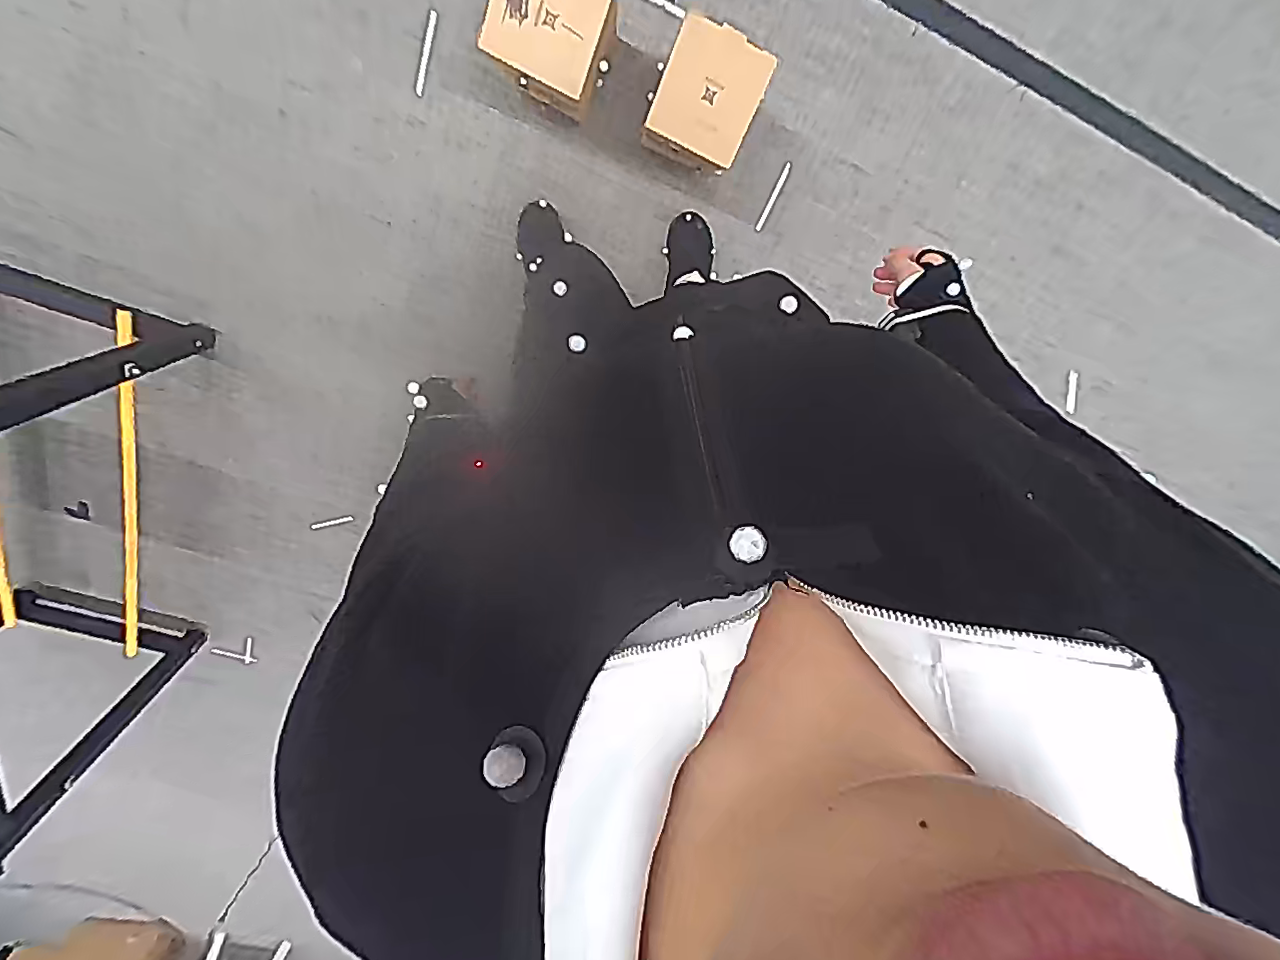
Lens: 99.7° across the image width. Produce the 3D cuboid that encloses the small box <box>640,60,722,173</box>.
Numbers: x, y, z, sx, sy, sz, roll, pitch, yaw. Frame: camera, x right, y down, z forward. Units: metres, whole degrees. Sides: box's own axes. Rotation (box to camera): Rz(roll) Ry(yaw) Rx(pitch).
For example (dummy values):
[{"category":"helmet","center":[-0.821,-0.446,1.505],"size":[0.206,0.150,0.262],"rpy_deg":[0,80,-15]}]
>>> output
[{"category":"small box","center":[0.108,-0.753,1.104],"size":[0.179,0.176,0.168],"rpy_deg":[19,117,-11]}]

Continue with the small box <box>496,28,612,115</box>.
[{"category":"small box","center":[-0.158,-0.840,1.048],"size":[0.168,0.176,0.179],"rpy_deg":[22,117,-12]}]

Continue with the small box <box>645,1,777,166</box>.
[{"category":"small box","center":[0.112,-0.684,0.956],"size":[0.168,0.176,0.179],"rpy_deg":[21,118,-12]}]

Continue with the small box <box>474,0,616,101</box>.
[{"category":"small box","center":[-0.151,-0.764,0.901],"size":[0.179,0.176,0.168],"rpy_deg":[21,117,-13]}]
